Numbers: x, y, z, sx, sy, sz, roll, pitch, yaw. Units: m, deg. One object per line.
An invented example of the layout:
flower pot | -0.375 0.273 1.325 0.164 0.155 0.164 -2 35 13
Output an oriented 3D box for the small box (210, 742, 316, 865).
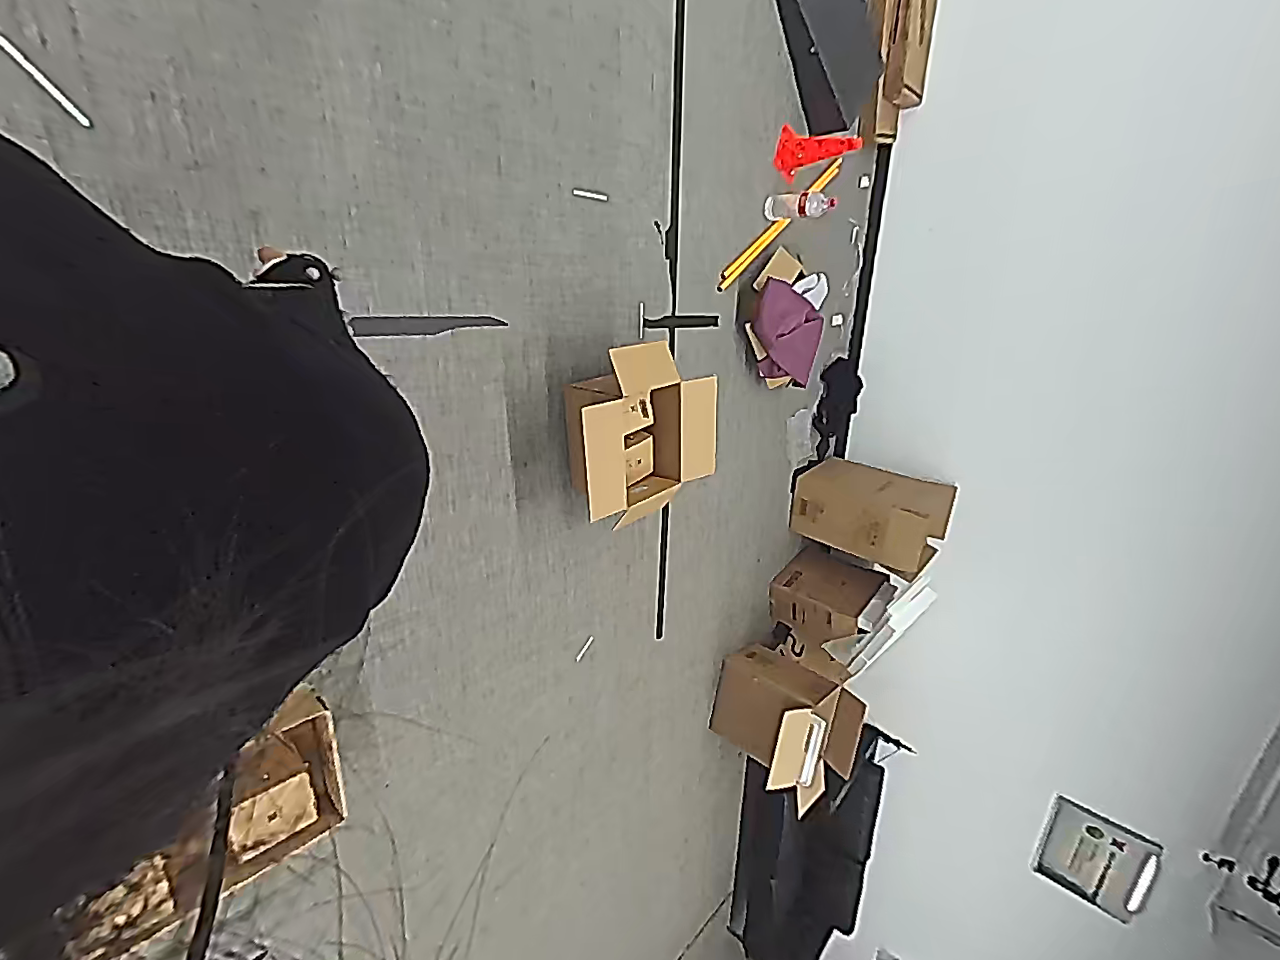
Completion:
small box | -0.962 0.812 1.381 0.179 0.176 0.168 -16 113 -44

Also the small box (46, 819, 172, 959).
small box | -1.159 0.886 1.181 0.168 0.176 0.179 -14 113 -47
